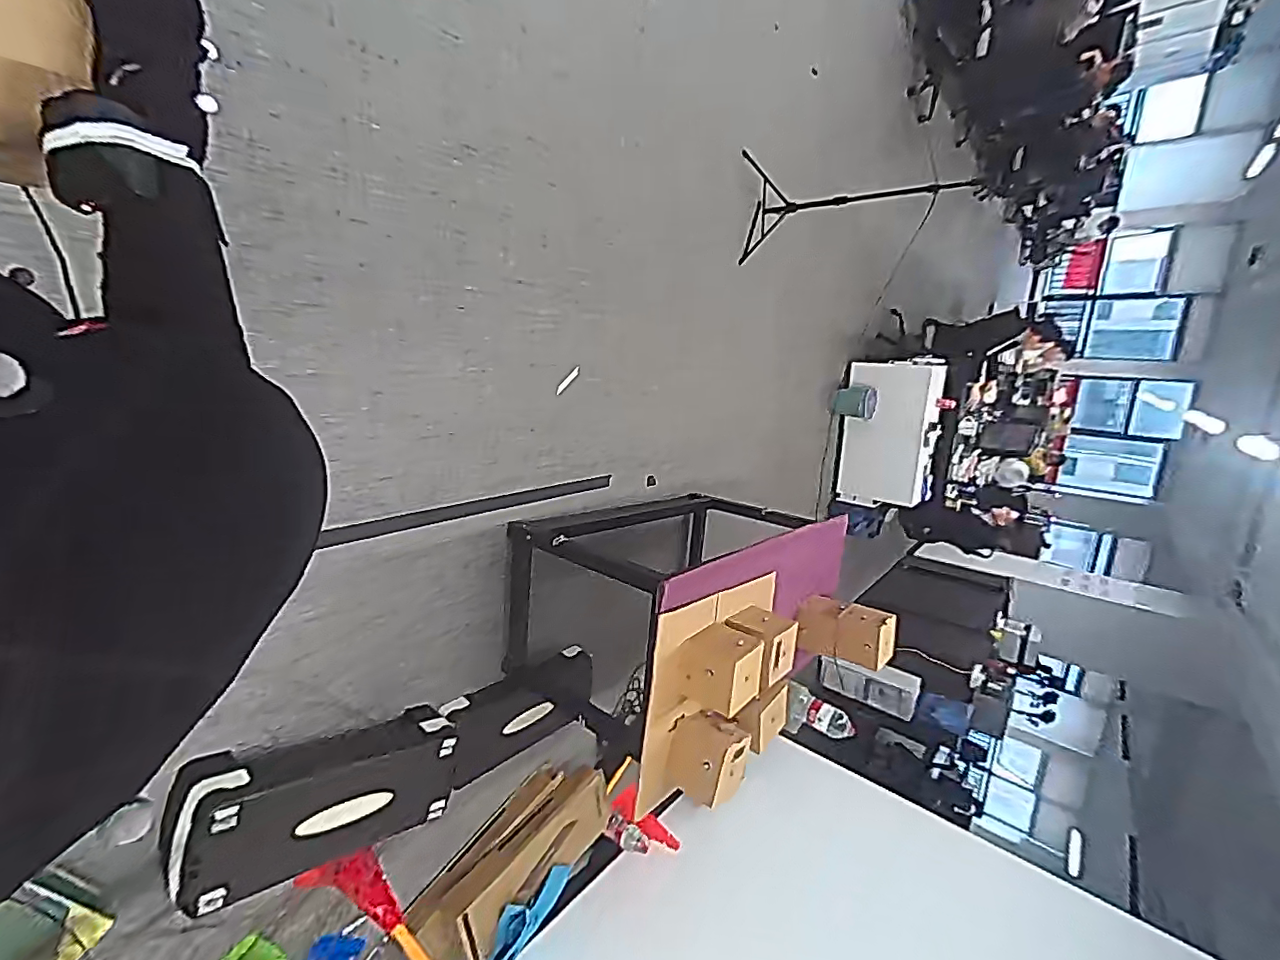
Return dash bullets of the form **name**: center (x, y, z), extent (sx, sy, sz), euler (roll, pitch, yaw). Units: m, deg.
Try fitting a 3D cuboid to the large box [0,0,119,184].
- **large box**: center (-0.637, -0.395, 0.312), extent (0.408, 0.320, 0.320), euler (-16, 118, -53)
